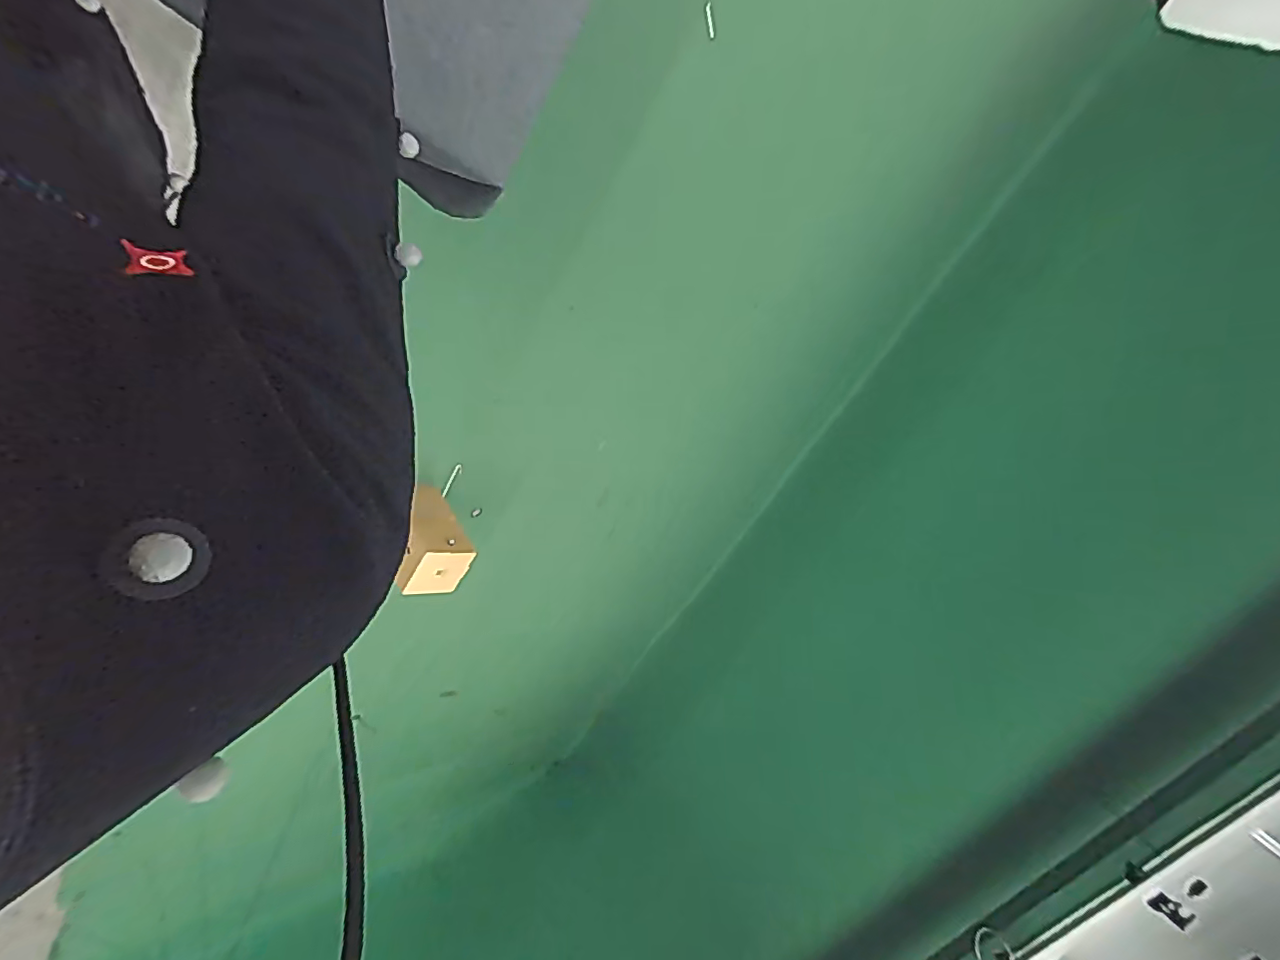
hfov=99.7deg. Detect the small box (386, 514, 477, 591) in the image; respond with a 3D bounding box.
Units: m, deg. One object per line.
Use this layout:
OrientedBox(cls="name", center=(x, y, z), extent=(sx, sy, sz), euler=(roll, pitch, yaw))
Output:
OrientedBox(cls="small box", center=(-0.640, 0.218, 1.646), extent=(0.179, 0.176, 0.168), euler=(11, 119, -54))
